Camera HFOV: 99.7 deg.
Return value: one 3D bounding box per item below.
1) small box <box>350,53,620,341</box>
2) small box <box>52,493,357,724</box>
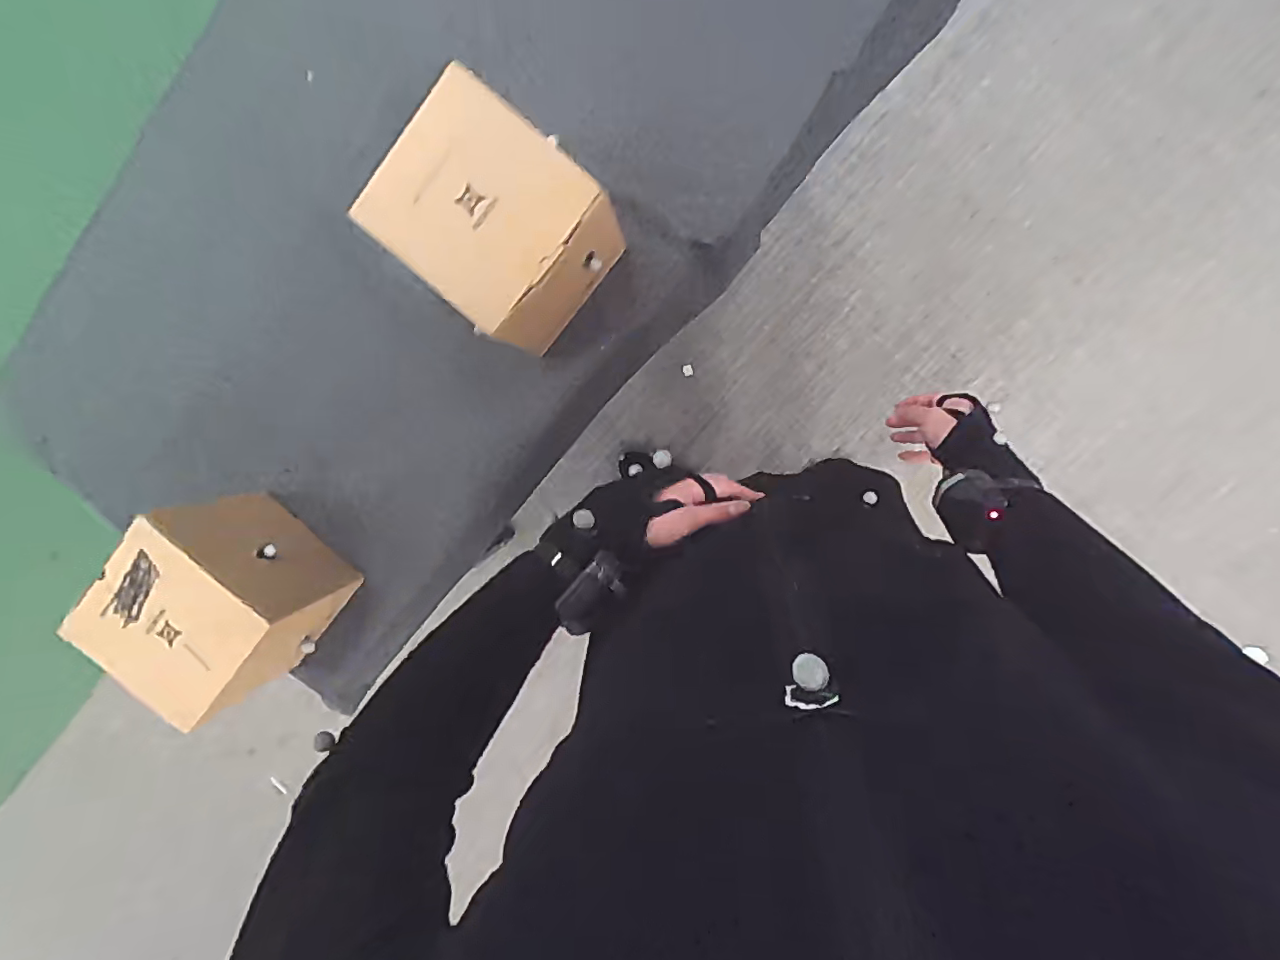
[{"bbox_3d":[-0.138,-0.262,0.555,0.179,0.176,0.168,40,97,1],"label":"small box"},{"bbox_3d":[-0.479,0.129,0.623,0.179,0.176,0.168,41,98,-1],"label":"small box"}]
